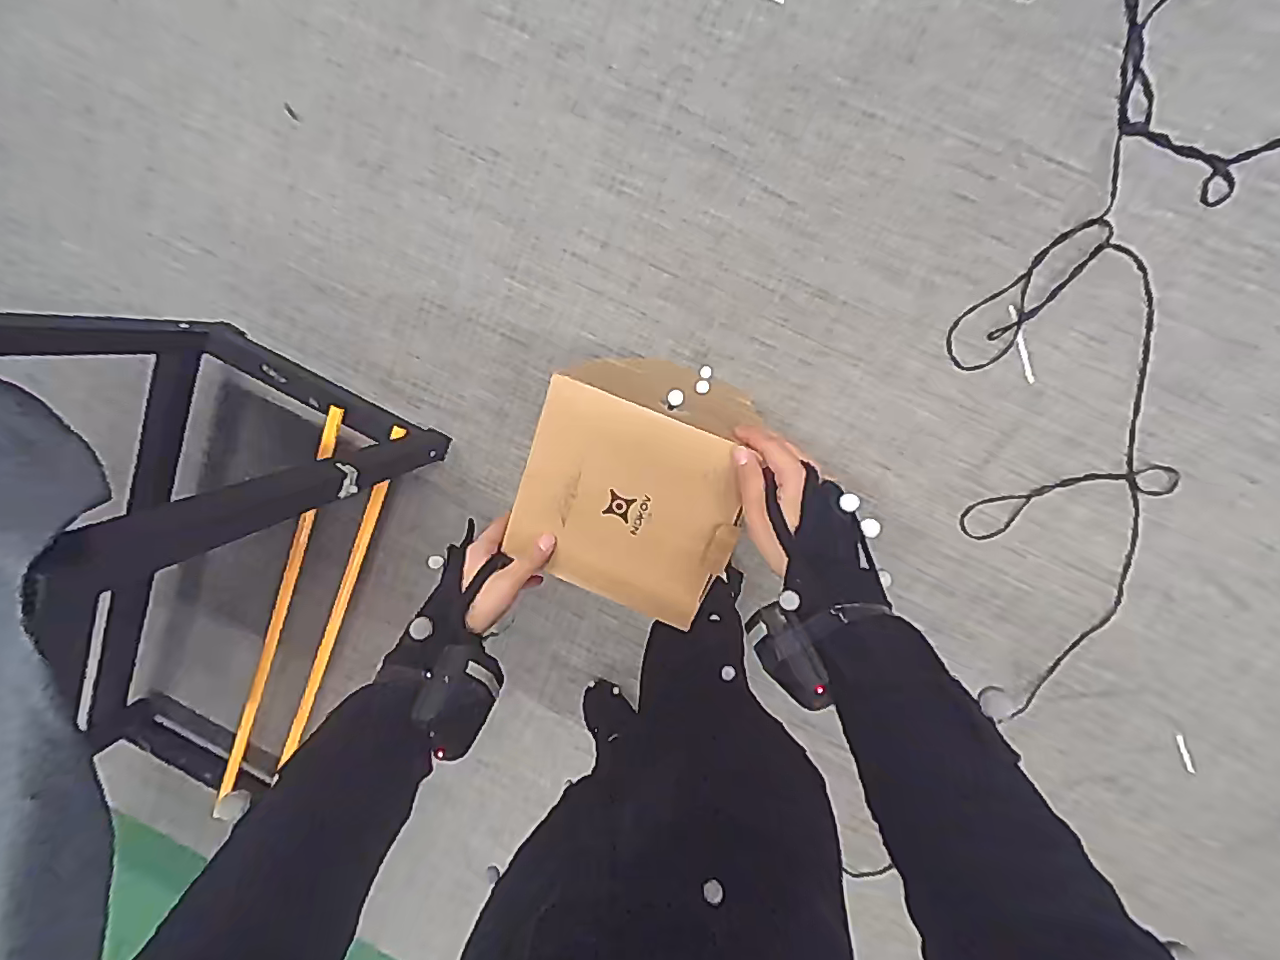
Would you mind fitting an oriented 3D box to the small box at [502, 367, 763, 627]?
[{"bbox_3d":[0.001,0.000,0.508,0.179,0.176,0.168,22,108,5],"label":"small box"}]

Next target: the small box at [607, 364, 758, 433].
[{"bbox_3d":[0.028,-0.040,0.670,0.179,0.176,0.168,22,106,3],"label":"small box"}]

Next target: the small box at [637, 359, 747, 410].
[{"bbox_3d":[0.056,-0.076,0.829,0.168,0.176,0.179,22,106,4],"label":"small box"}]
